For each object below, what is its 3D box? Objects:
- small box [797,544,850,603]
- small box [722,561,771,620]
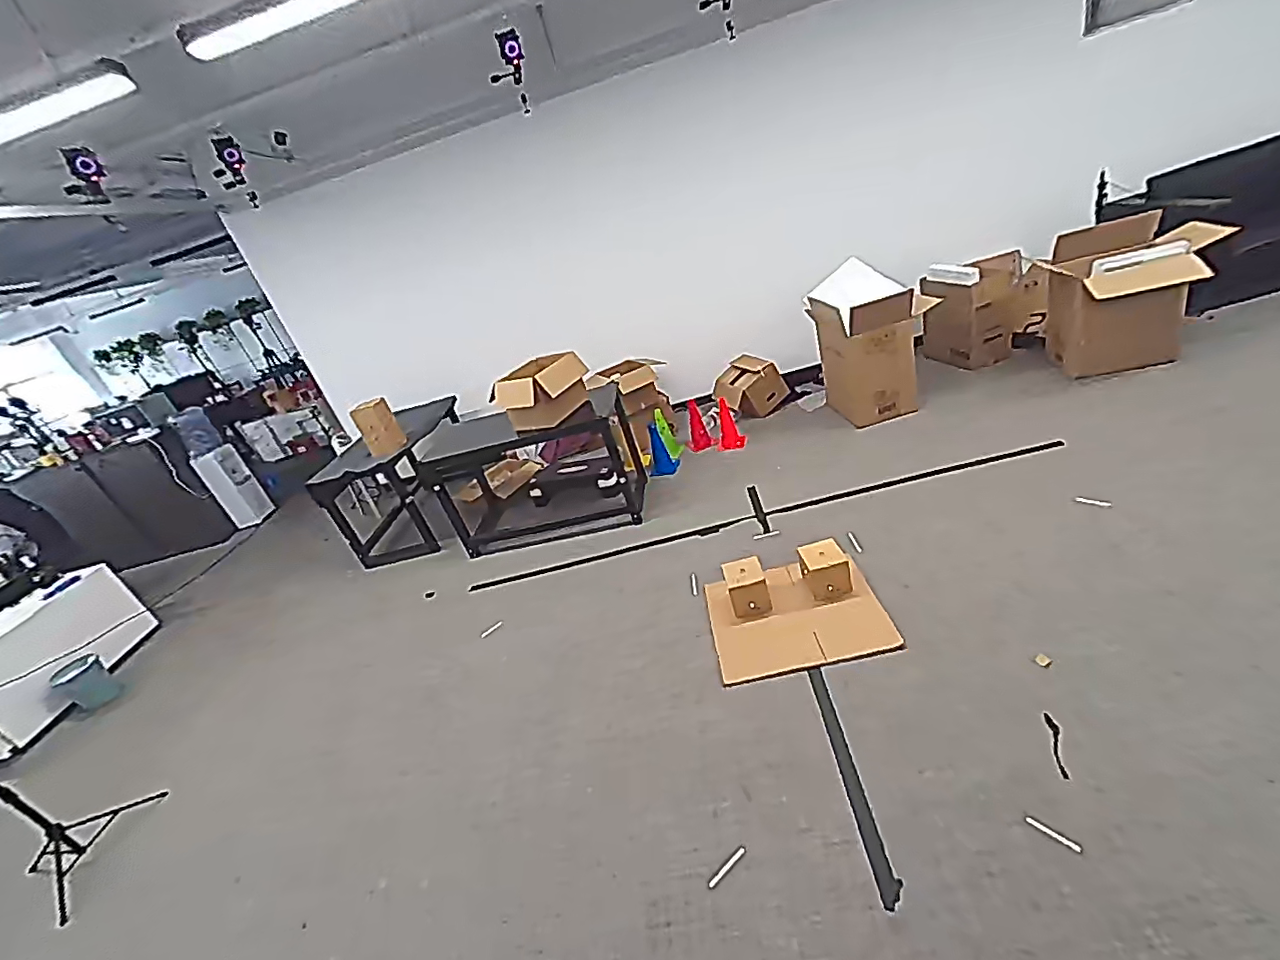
[{"bbox_3d":[0.803,0.411,2.368,0.168,0.176,0.179,-17,26,3],"label":"small box"},{"bbox_3d":[0.472,0.493,2.406,0.168,0.176,0.179,-16,26,6],"label":"small box"}]
